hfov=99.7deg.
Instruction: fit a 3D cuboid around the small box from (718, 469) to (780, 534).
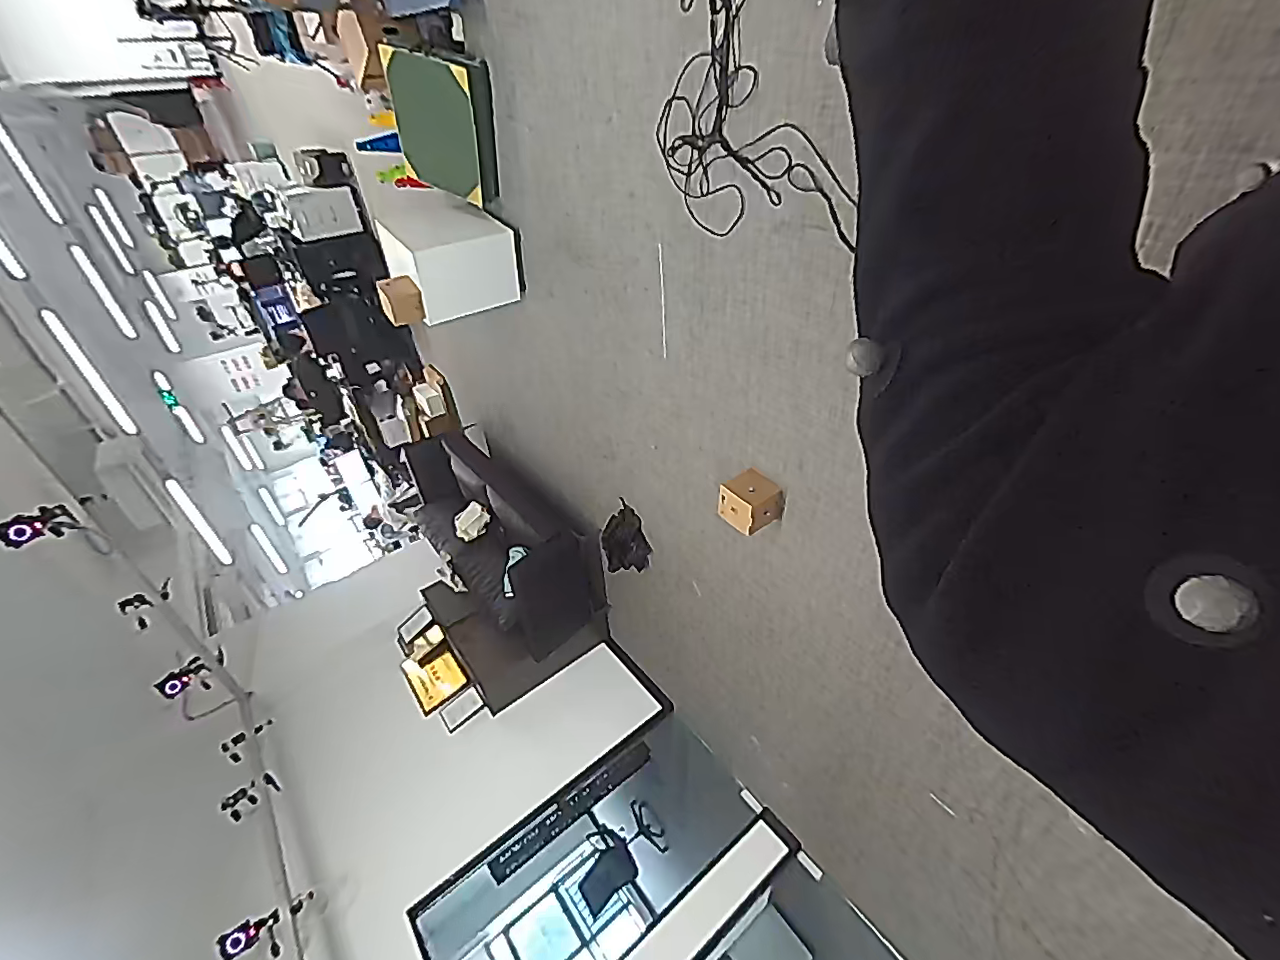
[{"bbox_3d":[0.440,0.080,2.176,0.179,0.176,0.168,37,143,37],"label":"small box"}]
